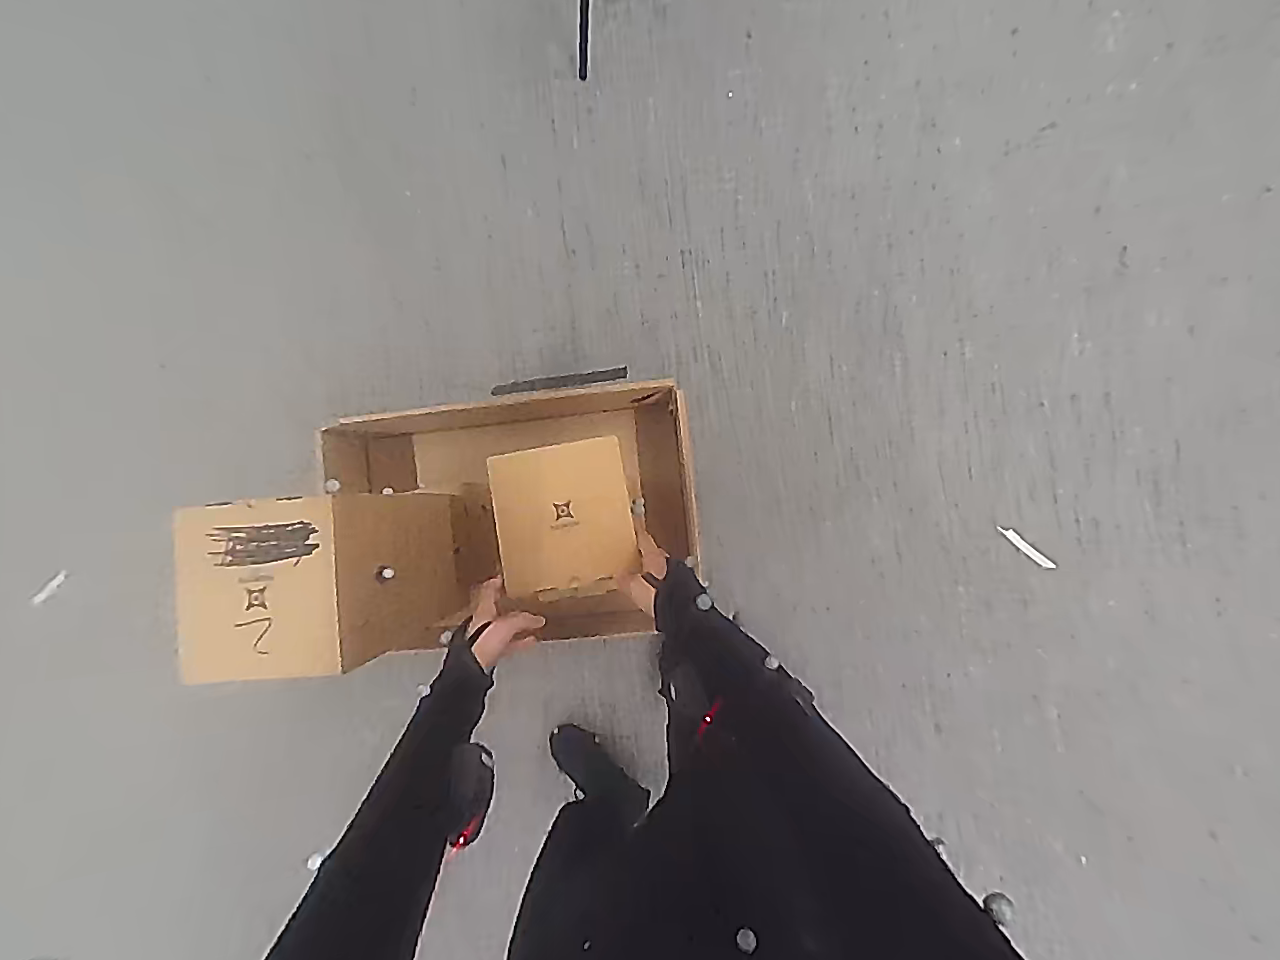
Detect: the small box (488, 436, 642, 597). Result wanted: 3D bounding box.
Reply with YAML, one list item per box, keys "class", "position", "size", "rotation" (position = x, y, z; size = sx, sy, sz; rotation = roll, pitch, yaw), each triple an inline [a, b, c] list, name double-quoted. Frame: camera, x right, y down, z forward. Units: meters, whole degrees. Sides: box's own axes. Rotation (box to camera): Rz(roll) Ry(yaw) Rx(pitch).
- class: "small box"
  position: [-0.096, 0.054, 0.738]
  size: [0.168, 0.176, 0.179]
  rotation: [-11, 83, -3]

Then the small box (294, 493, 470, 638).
- class: "small box"
  position: [-0.353, 0.115, 0.765]
  size: [0.168, 0.176, 0.179]
  rotation: [-5, 86, 4]
